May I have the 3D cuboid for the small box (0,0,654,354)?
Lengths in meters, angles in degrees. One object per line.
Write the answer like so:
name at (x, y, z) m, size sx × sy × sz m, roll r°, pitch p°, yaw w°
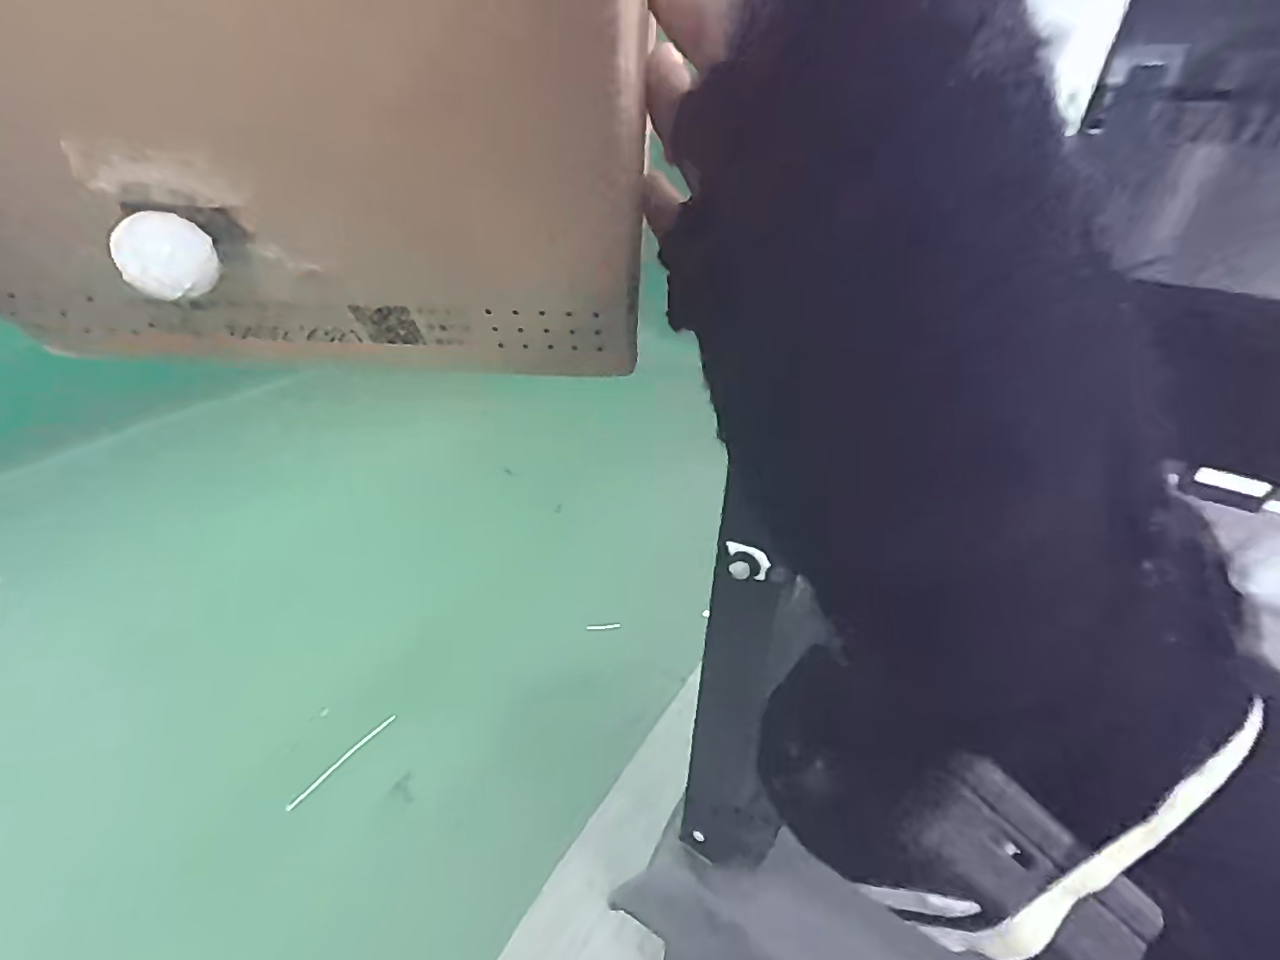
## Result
small box at (-0.079, -0.152, 0.121) m, size 0.168 × 0.176 × 0.179 m, roll 2°, pitch 66°, yaw 0°
